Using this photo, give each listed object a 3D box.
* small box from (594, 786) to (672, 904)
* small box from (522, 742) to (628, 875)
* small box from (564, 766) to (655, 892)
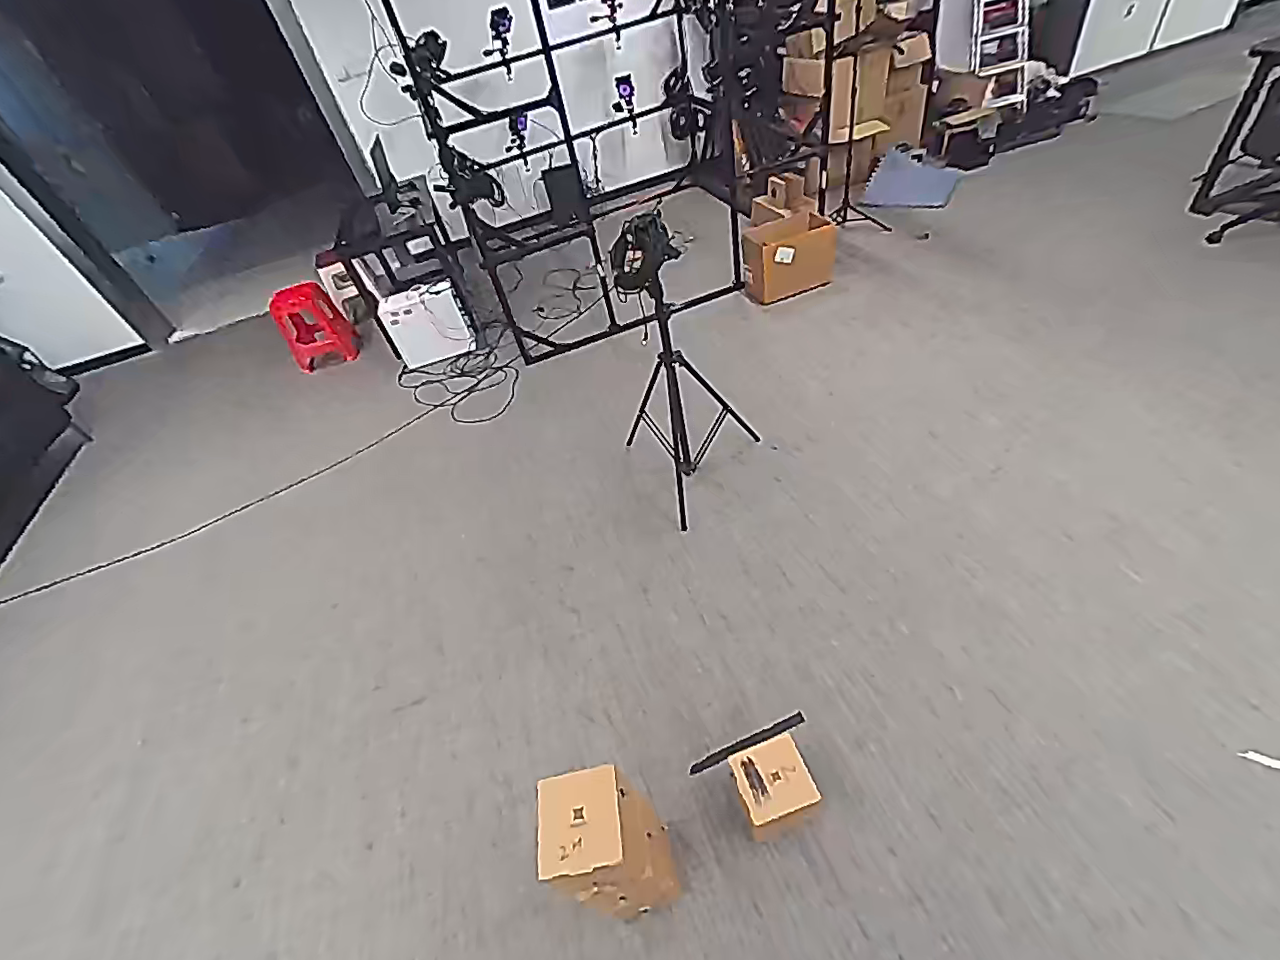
[{"bbox_3d":[-0.034,0.878,1.298,0.168,0.176,0.179,-20,44,-4],"label":"small box"},{"bbox_3d":[-0.127,0.655,1.077,0.168,0.176,0.179,-14,45,3],"label":"small box"},{"bbox_3d":[-0.076,0.768,1.187,0.168,0.176,0.179,-18,45,-2],"label":"small box"}]
